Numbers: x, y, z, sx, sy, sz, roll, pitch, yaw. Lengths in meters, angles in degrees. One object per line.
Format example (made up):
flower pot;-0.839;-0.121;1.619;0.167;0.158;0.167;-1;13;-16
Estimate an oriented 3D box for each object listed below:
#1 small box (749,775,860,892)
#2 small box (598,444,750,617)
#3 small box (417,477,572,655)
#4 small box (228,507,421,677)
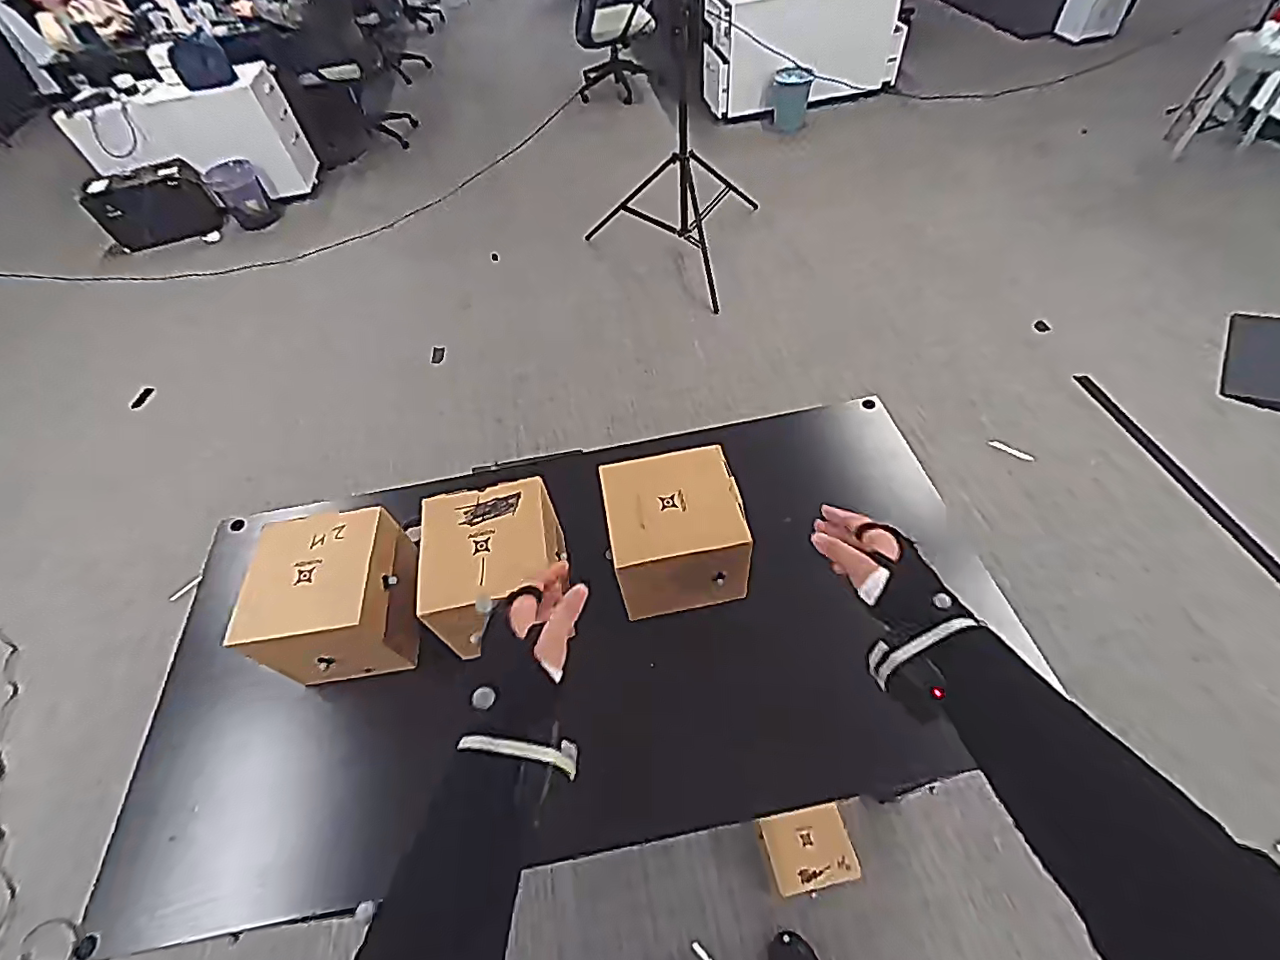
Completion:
small box;0.337;0.753;1.149;0.168;0.176;0.179;-13;53;-2
small box;0.047;0.076;0.775;0.179;0.176;0.168;-12;52;-1
small box;-0.197;0.124;0.765;0.168;0.176;0.179;-11;54;-2
small box;-0.418;0.165;0.760;0.168;0.176;0.179;-9;53;-1
